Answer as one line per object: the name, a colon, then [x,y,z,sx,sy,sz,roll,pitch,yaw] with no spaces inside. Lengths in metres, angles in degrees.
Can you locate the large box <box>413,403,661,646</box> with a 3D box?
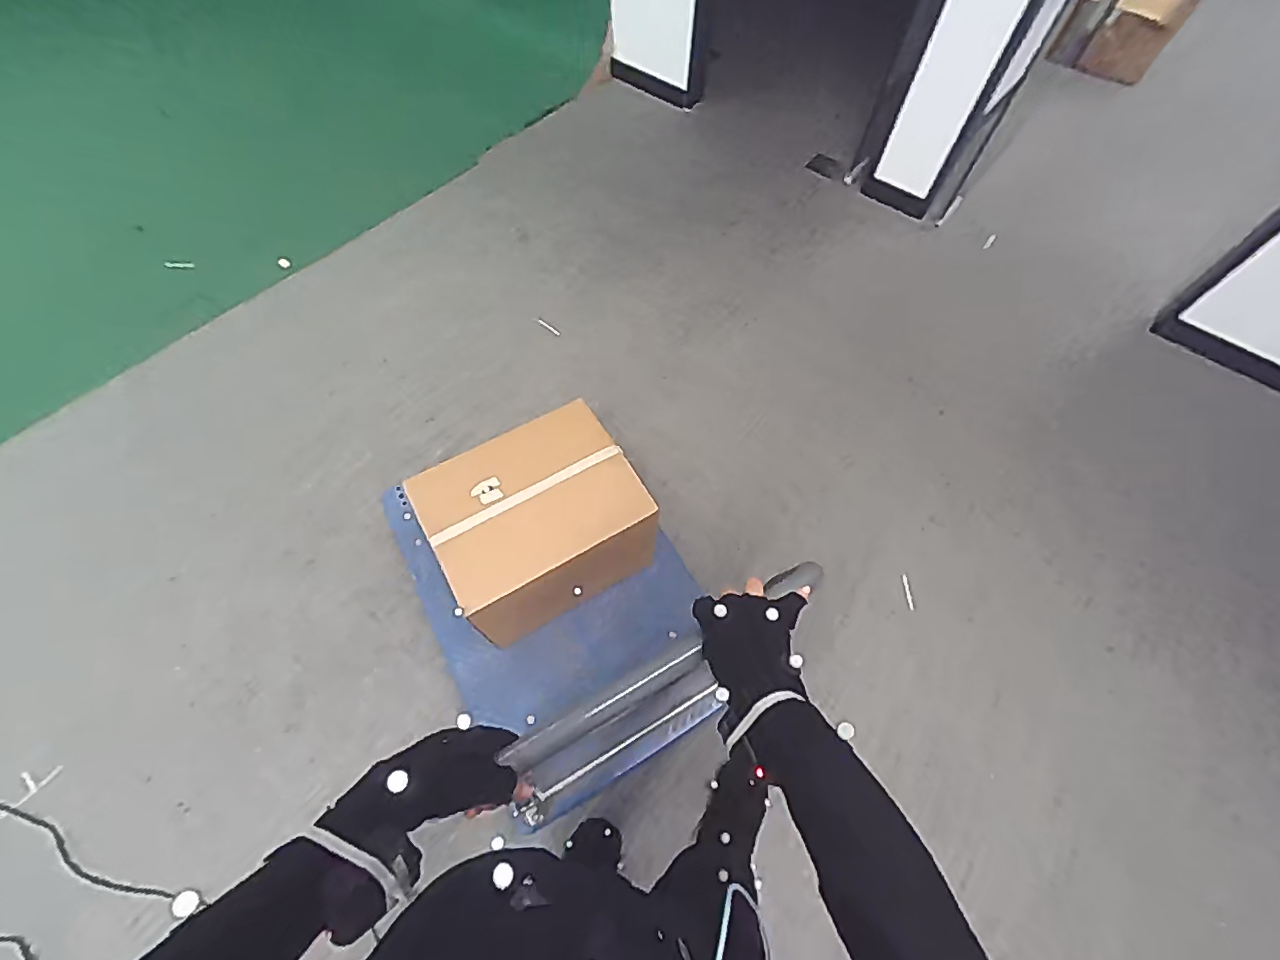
large box: [-0.206,0.105,1.192,0.408,0.320,0.320,-29,66,-15]
